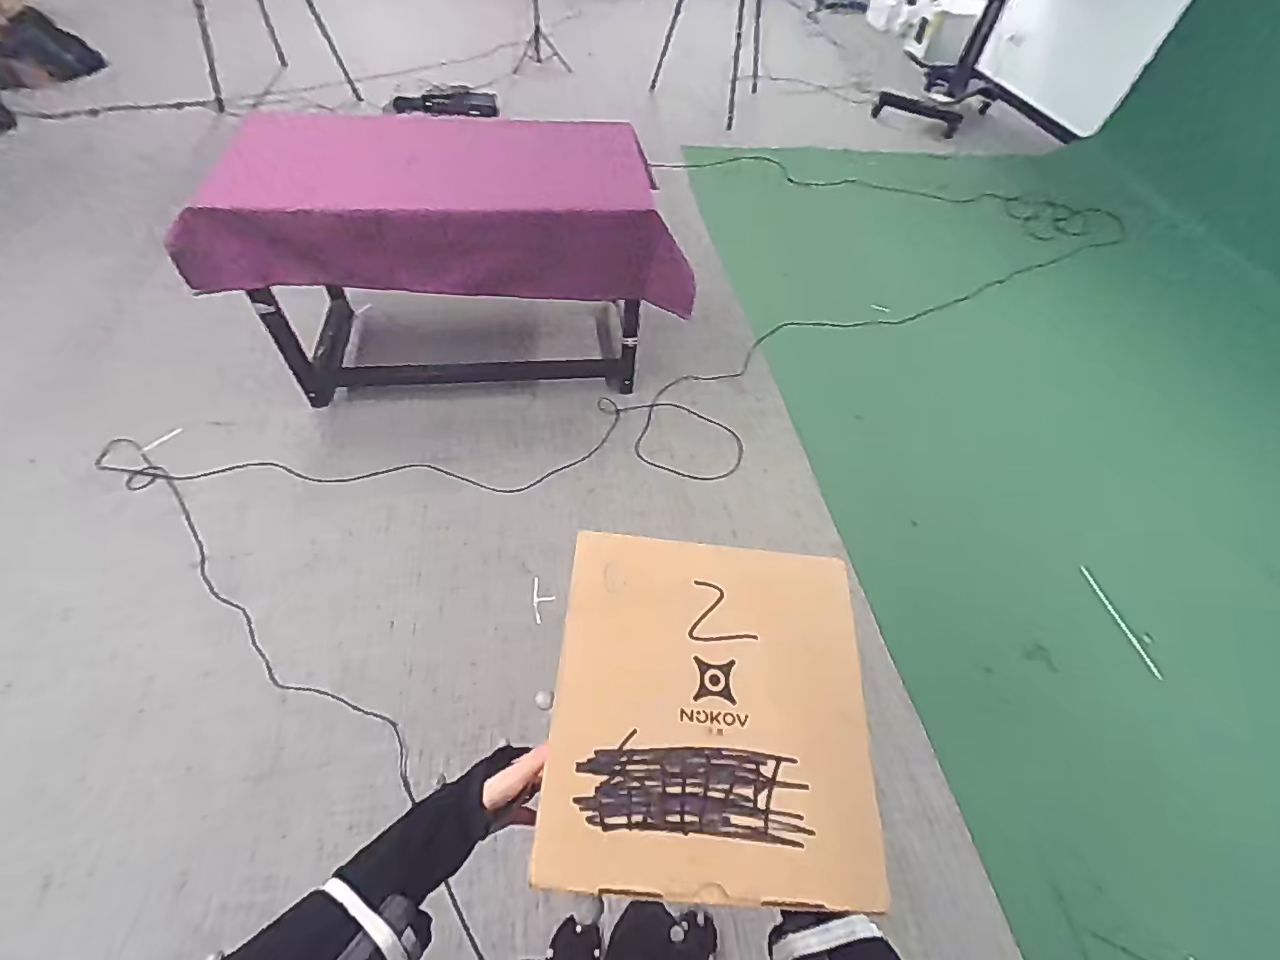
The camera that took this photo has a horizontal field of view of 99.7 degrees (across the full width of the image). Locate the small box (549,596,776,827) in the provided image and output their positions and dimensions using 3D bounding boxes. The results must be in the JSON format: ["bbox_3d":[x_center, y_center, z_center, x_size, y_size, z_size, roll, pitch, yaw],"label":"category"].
[{"bbox_3d":[0.014,0.222,0.513,0.179,0.176,0.168,6,59,-3],"label":"small box"}]
